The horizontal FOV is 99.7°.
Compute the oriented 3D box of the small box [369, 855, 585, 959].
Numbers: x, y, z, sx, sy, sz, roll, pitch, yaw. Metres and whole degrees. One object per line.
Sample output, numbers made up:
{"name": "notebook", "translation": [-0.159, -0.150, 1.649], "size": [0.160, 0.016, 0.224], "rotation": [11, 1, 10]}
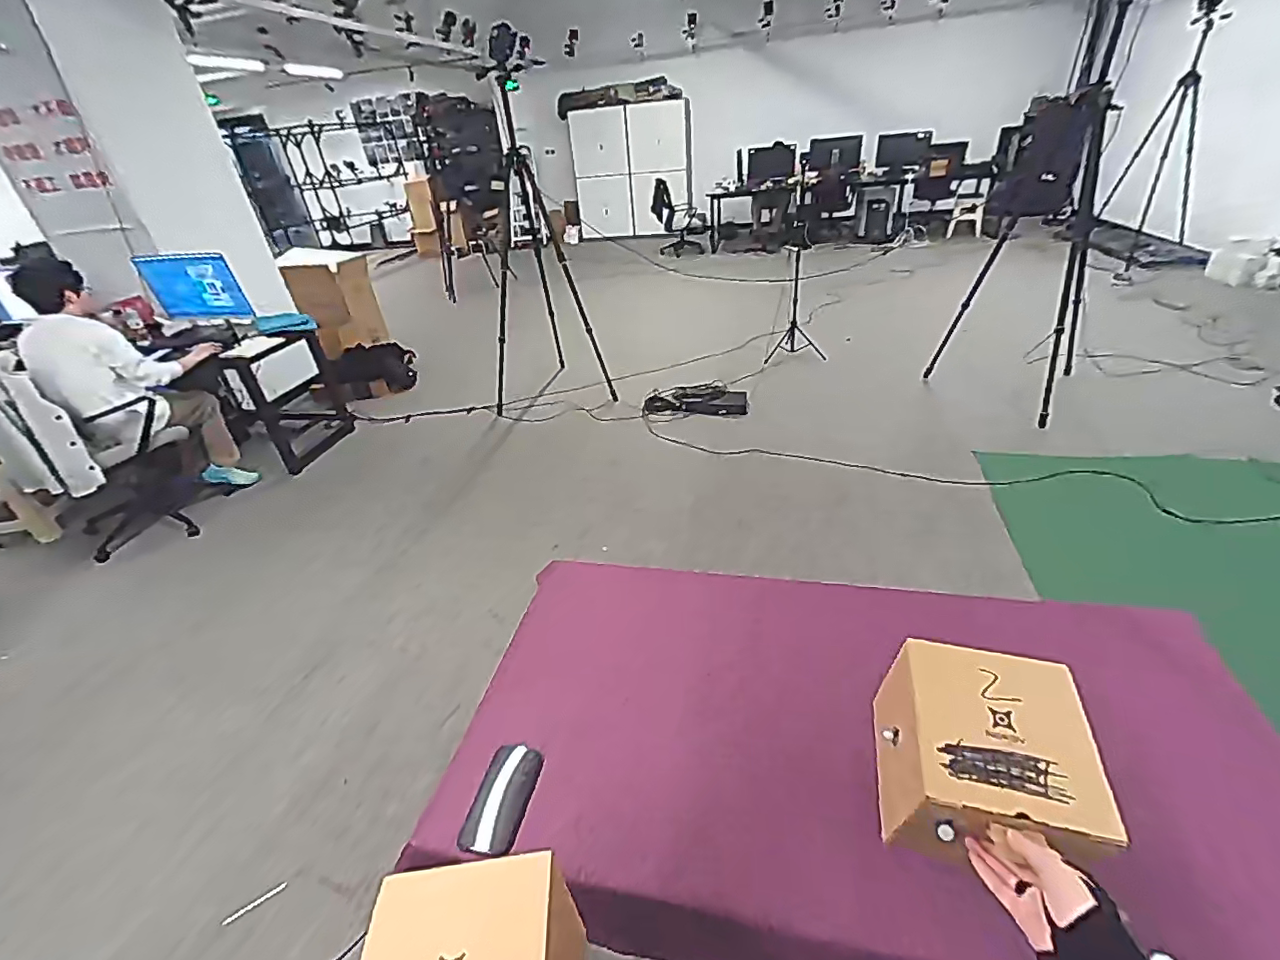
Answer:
{"name": "small box", "translation": [-0.145, 0.487, 0.492], "size": [0.168, 0.176, 0.179], "rotation": [-9, 31, 1]}
